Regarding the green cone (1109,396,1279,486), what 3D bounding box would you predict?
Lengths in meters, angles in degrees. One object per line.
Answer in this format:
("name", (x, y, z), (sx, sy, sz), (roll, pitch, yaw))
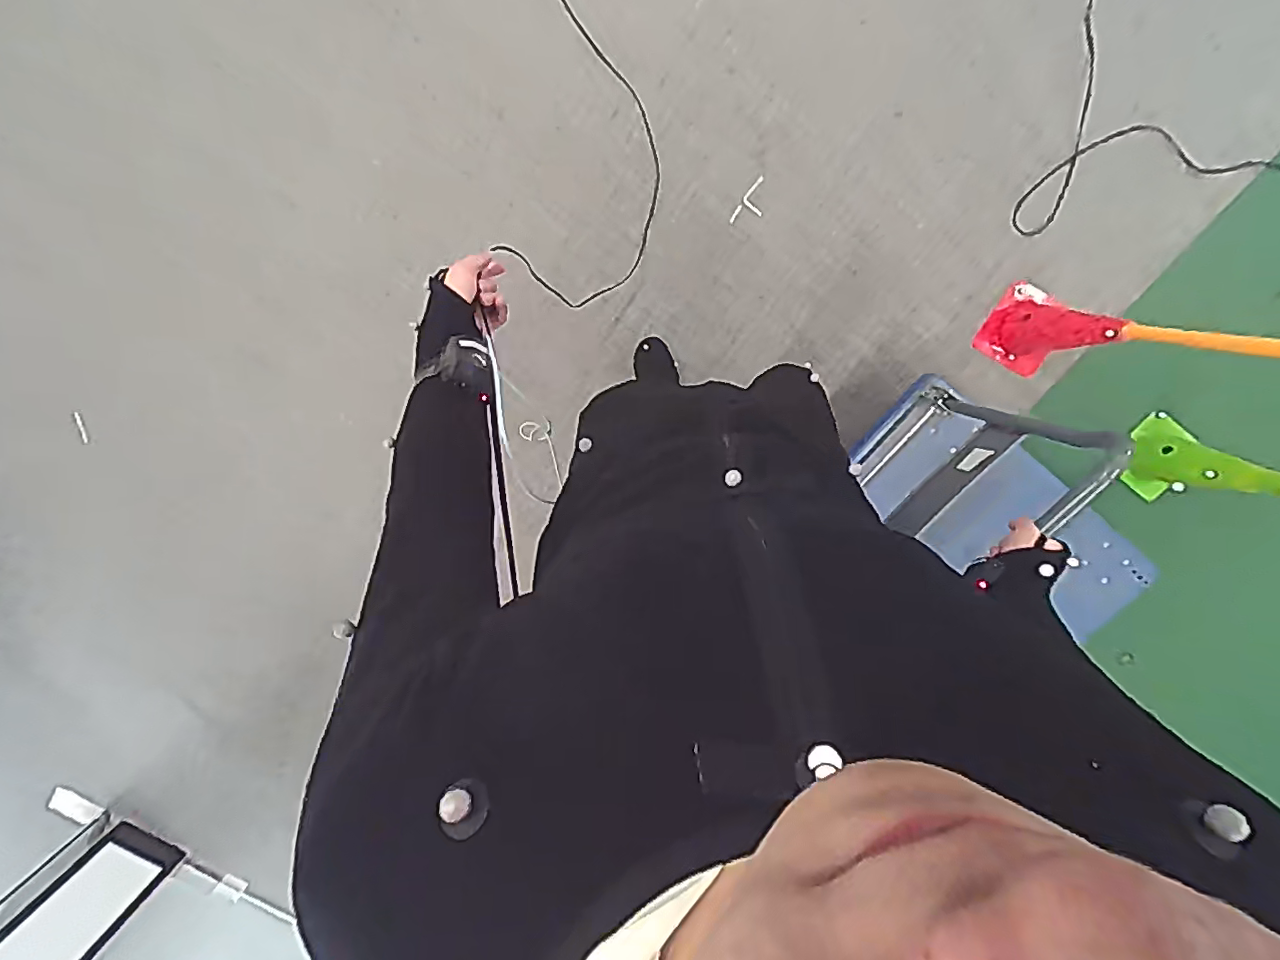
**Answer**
("green cone", (1.436, -0.056, 1.343), (0.202, 0.368, 0.200), (35, 105, -8))
